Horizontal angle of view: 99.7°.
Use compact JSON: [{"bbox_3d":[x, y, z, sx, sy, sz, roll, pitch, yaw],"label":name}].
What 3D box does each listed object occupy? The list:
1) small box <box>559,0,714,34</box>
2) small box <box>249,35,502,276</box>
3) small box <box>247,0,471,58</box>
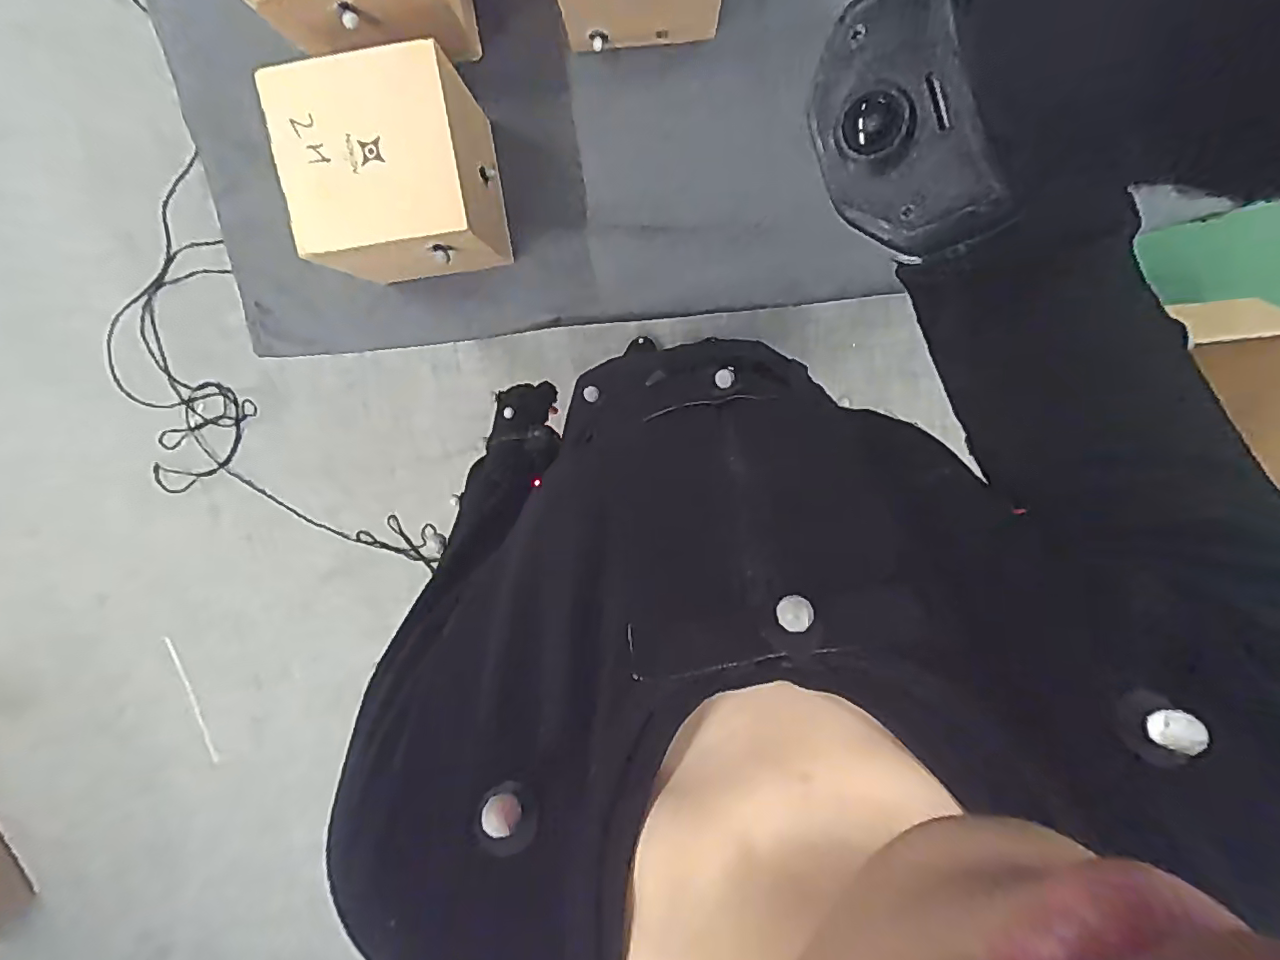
[{"bbox_3d":[-0.009,-0.567,0.516,0.168,0.176,0.179,-3,102,3],"label":"small box"},{"bbox_3d":[-0.259,-0.327,0.582,0.179,0.176,0.168,-7,101,4],"label":"small box"},{"bbox_3d":[-0.285,-0.545,0.537,0.179,0.176,0.168,-8,103,5],"label":"small box"}]
